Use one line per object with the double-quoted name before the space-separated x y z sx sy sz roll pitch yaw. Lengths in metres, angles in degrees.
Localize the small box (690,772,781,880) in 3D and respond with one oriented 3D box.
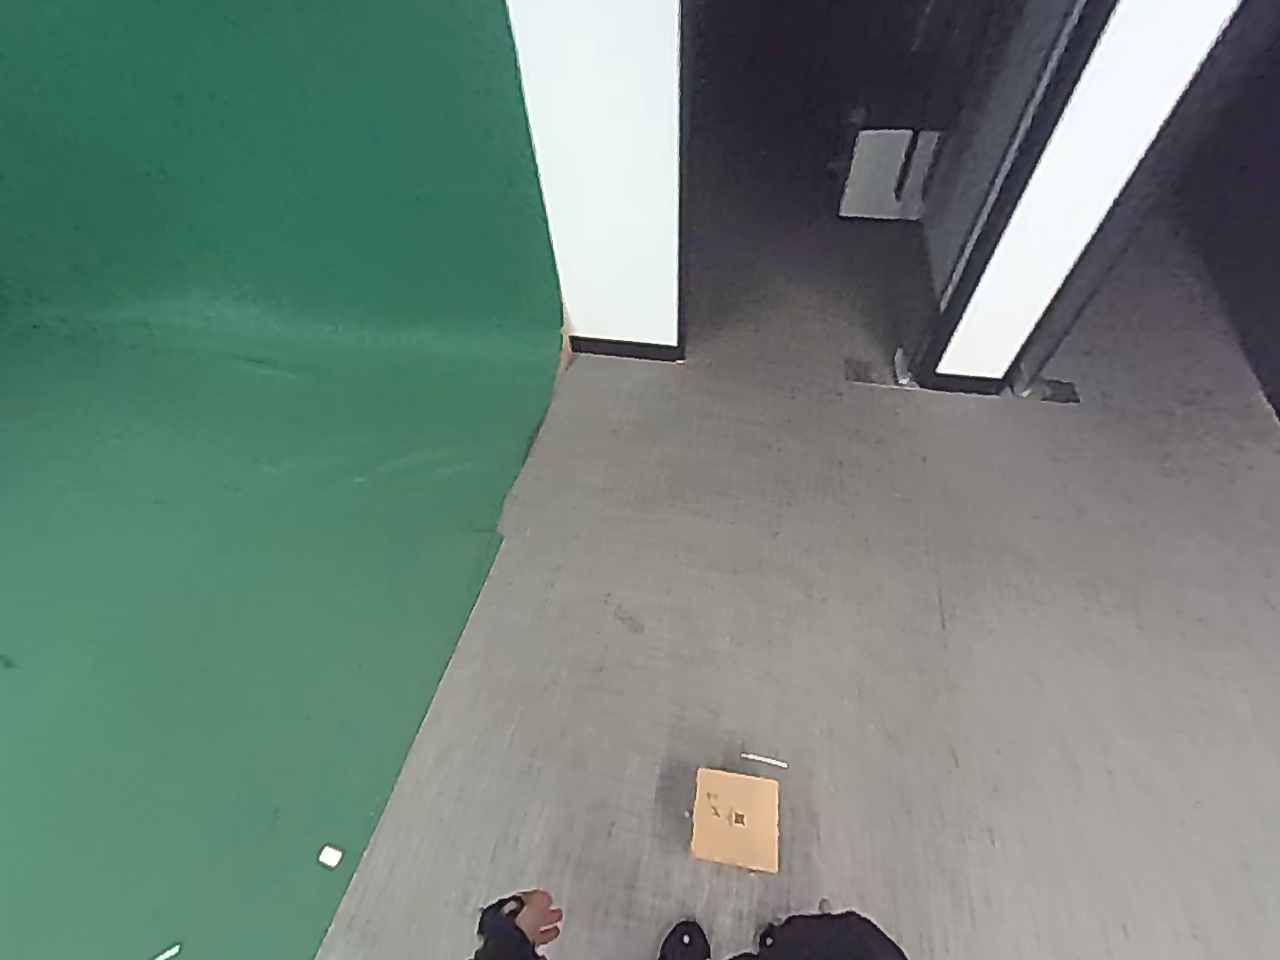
"small box" 0.207 0.758 1.182 0.179 0.176 0.168 5 52 9
